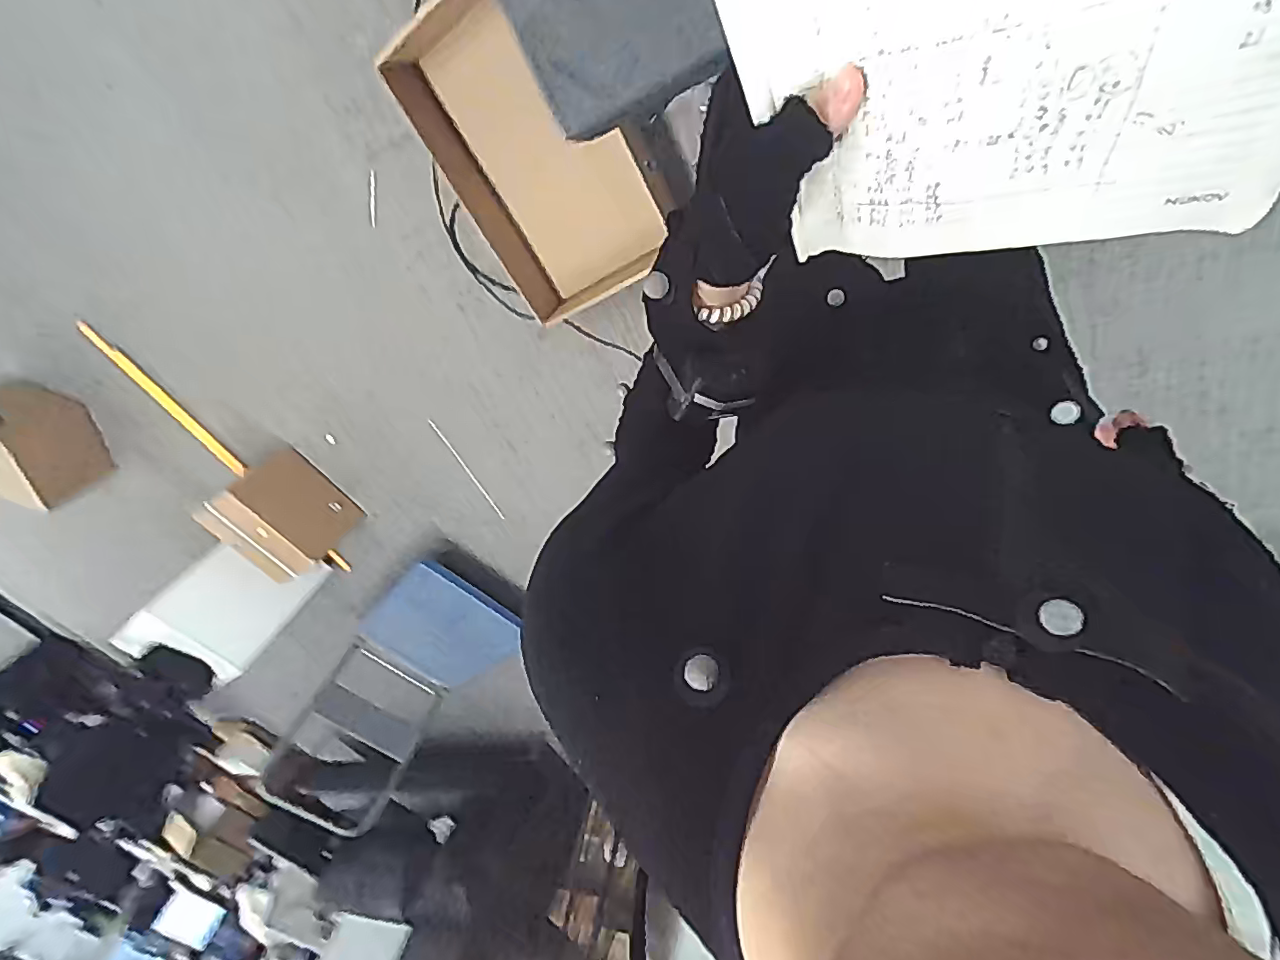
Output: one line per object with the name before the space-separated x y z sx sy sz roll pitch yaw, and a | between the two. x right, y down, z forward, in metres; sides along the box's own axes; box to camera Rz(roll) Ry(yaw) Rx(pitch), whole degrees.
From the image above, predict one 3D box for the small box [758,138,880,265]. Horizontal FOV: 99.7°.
small box | 0.376 -0.596 1.160 0.179 0.176 0.168 41 139 5
